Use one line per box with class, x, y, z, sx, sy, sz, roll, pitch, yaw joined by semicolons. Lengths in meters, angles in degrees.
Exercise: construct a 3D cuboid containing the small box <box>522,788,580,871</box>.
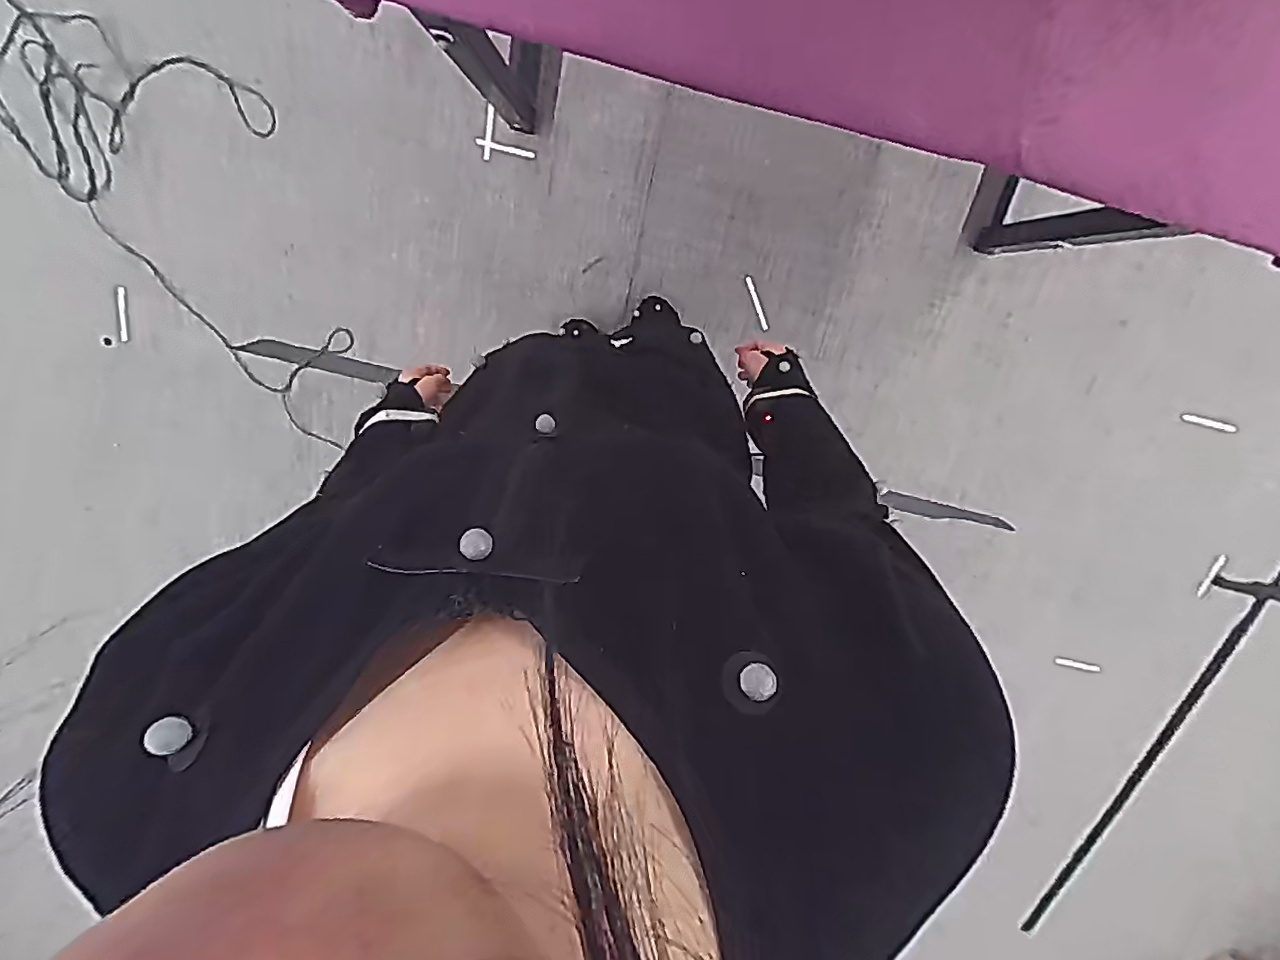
small box;-0.305;1.210;1.878;0.168;0.176;0.179;9;110;-2
